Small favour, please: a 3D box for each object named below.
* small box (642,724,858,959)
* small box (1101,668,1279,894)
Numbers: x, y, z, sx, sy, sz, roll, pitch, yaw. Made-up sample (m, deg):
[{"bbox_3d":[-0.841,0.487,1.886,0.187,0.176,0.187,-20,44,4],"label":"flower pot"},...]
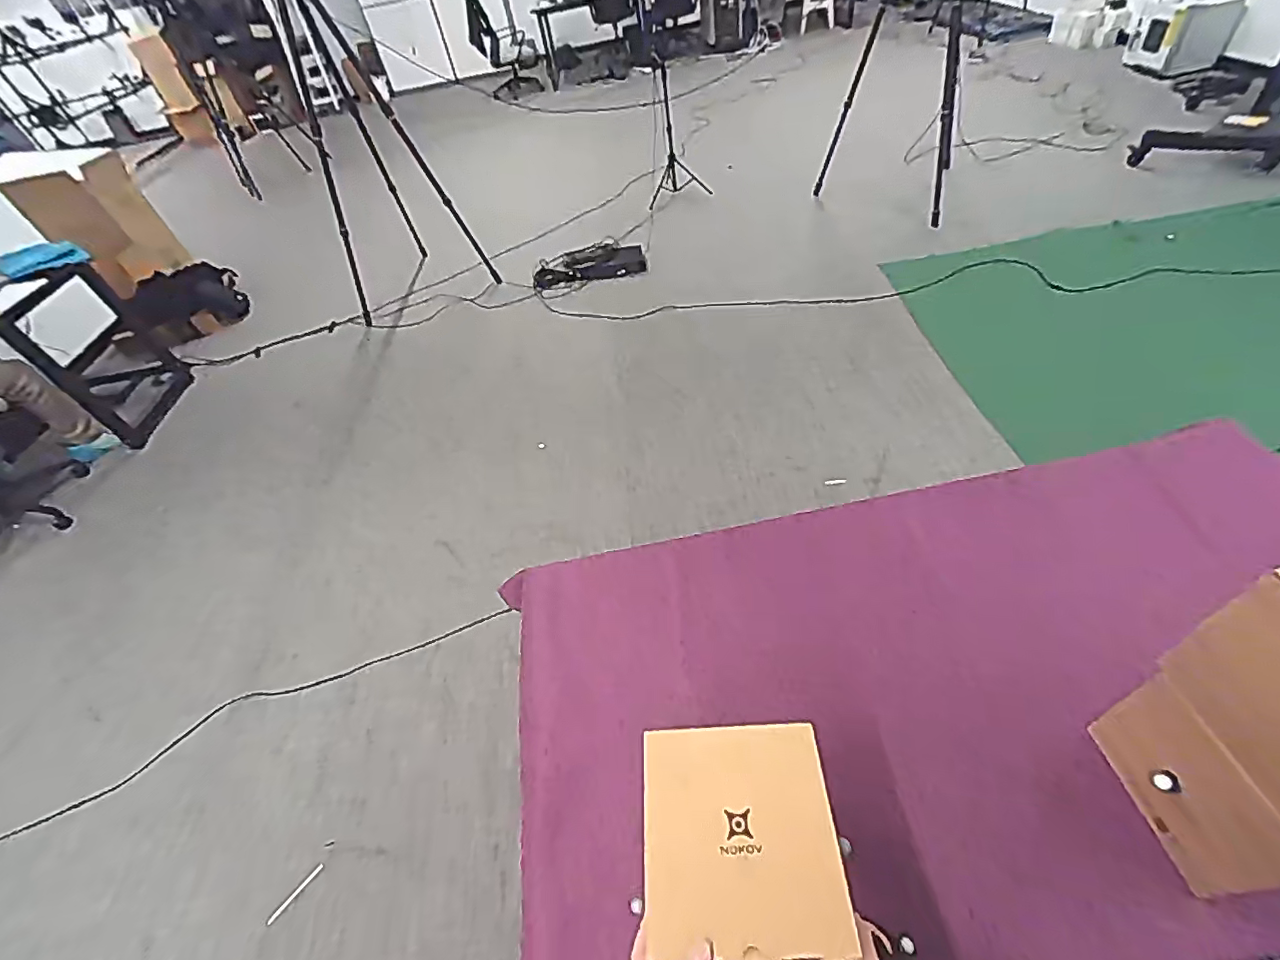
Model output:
[{"bbox_3d":[0.090,0.358,0.523,0.168,0.176,0.179,-5,47,4],"label":"small box"},{"bbox_3d":[0.603,0.282,0.524,0.179,0.176,0.168,-10,47,3],"label":"small box"}]
